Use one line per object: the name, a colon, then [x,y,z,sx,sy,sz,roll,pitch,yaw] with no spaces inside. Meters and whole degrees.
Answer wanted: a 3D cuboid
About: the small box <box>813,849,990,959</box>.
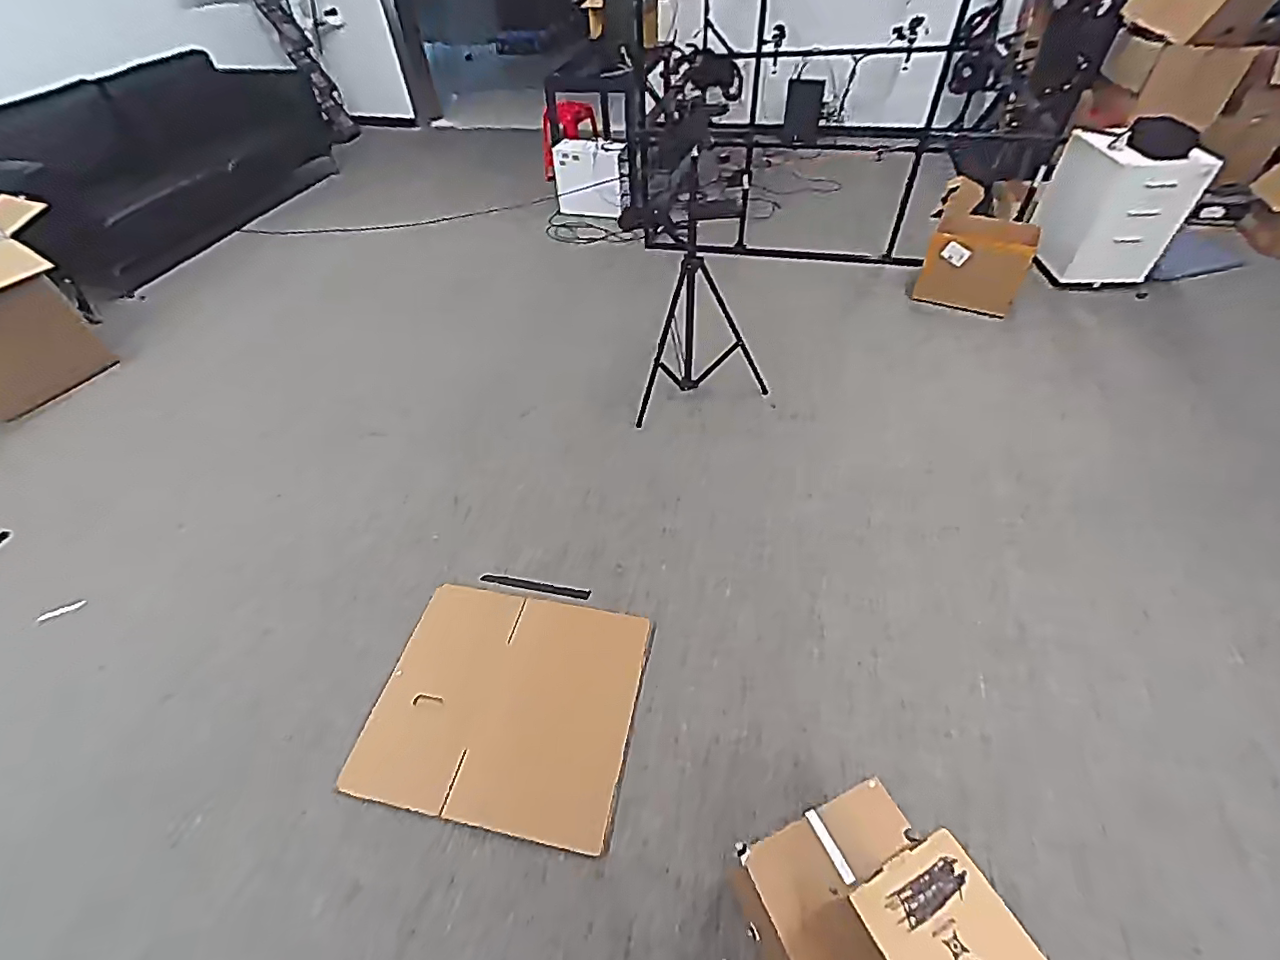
small box: [0.388,0.706,0.817,0.168,0.176,0.179,-23,51,-15]
